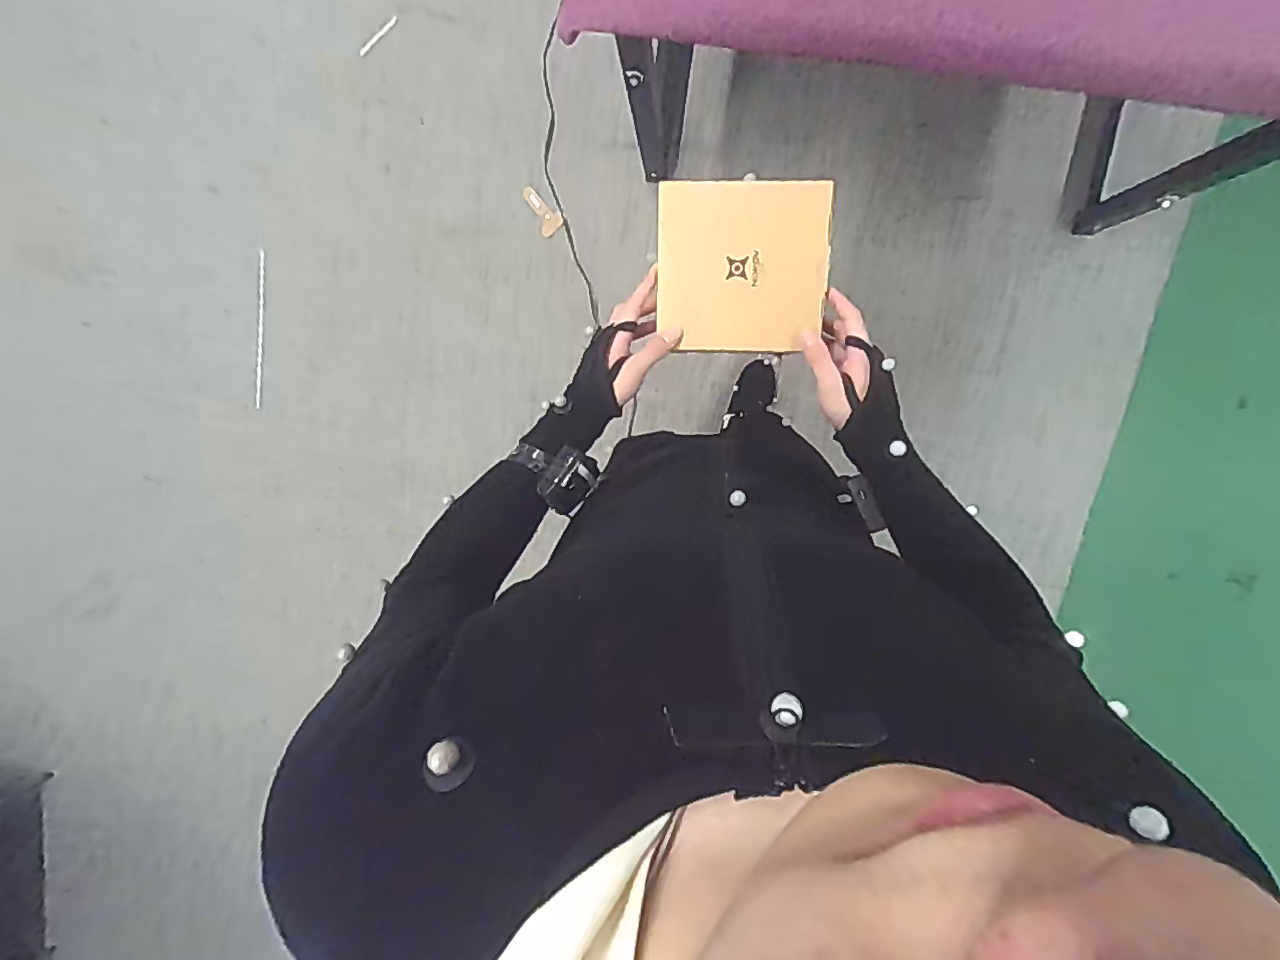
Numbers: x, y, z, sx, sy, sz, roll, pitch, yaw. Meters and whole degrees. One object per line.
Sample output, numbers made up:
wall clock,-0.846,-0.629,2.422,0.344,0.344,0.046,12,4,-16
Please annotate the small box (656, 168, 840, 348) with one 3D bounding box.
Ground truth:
small box,0.110,-0.239,0.621,0.179,0.176,0.168,1,102,2

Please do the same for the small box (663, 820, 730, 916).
small box,0.178,1.220,1.715,0.179,0.176,0.168,11,101,3
